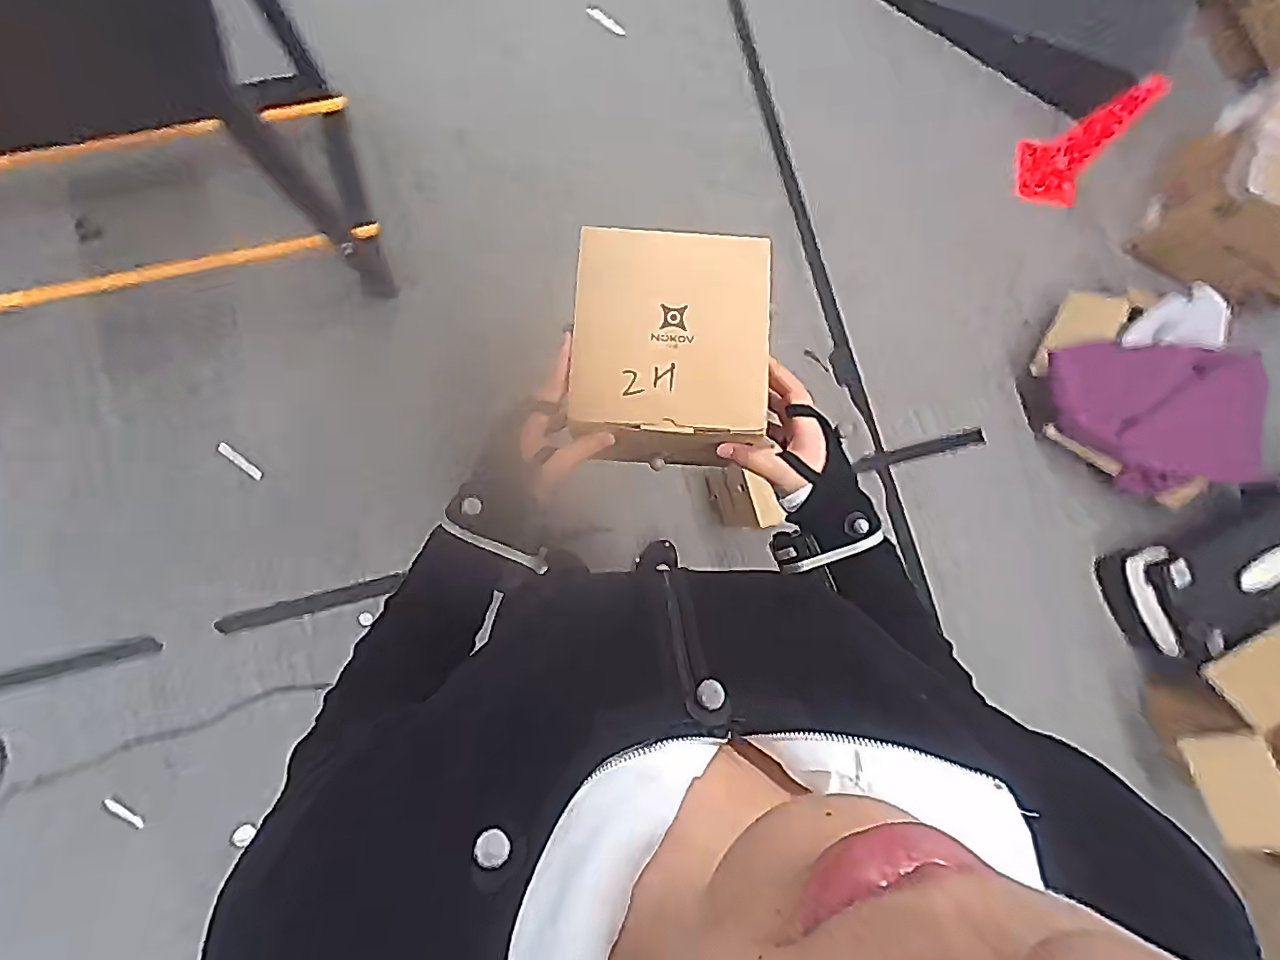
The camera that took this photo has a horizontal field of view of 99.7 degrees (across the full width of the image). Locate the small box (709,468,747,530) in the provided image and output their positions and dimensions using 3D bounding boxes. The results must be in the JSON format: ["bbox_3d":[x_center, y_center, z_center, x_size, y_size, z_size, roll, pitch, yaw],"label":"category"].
[{"bbox_3d":[0.307,0.031,1.470,0.179,0.176,0.168,-20,86,-5],"label":"small box"}]

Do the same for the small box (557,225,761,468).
[{"bbox_3d":[0.015,-0.115,0.524,0.168,0.176,0.179,2,82,-1],"label":"small box"}]

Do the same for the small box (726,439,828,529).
[{"bbox_3d":[0.322,0.015,1.307,0.168,0.176,0.179,-15,86,-6],"label":"small box"}]
